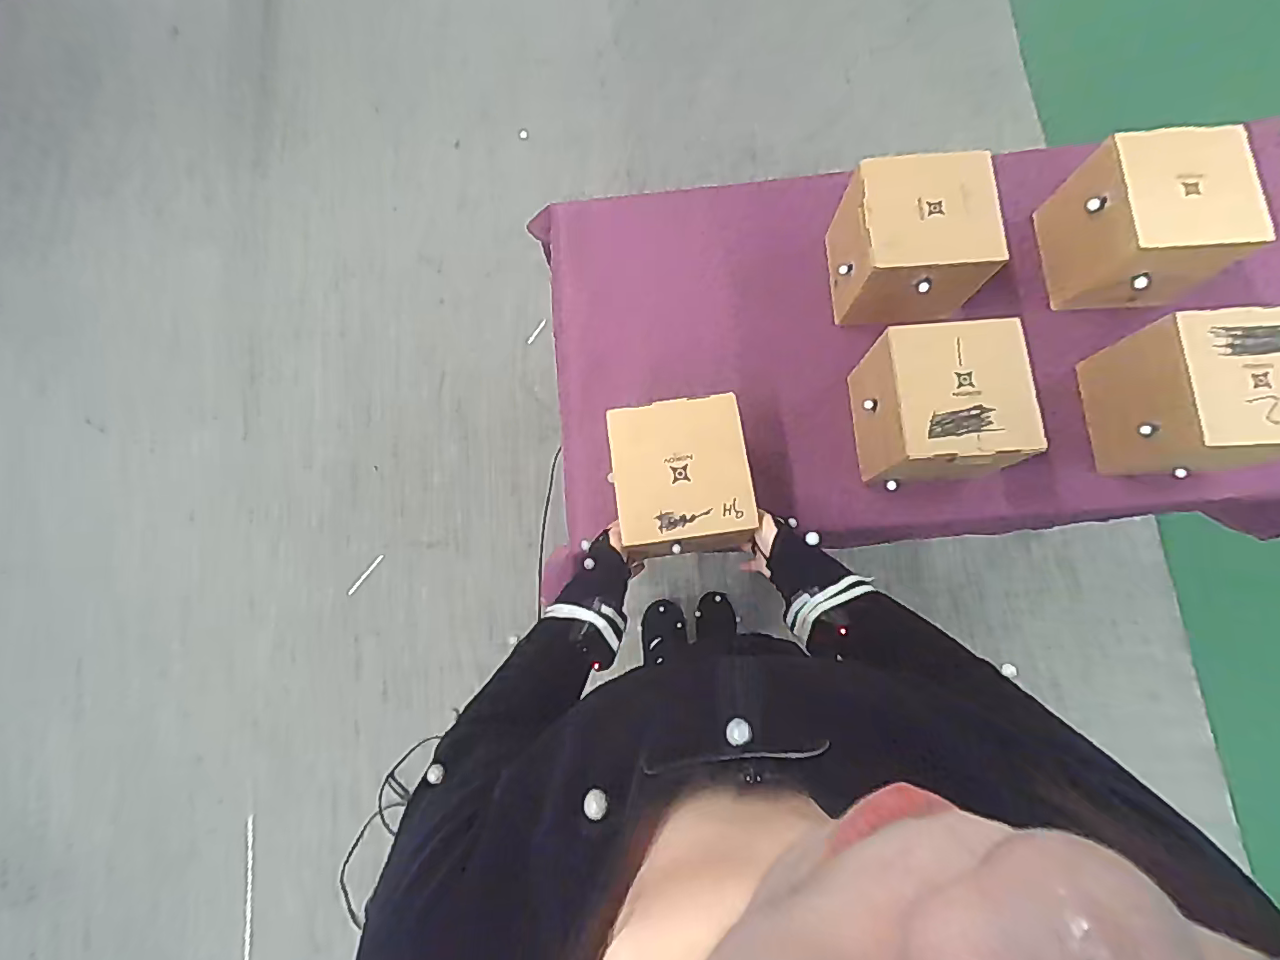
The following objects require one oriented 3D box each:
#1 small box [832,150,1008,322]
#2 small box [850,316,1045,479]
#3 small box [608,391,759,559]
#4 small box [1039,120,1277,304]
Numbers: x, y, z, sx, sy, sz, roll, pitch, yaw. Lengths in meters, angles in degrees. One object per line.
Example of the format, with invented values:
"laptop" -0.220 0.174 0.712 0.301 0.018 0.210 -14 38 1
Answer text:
"small box" 0.390 -0.344 0.791 0.179 0.176 0.168 -2 79 3
"small box" 0.402 -0.100 0.739 0.168 0.176 0.179 -3 77 3
"small box" 0.053 0.002 0.728 0.168 0.176 0.179 -8 75 2
"small box" 0.716 -0.366 0.772 0.168 0.176 0.179 -2 78 4
